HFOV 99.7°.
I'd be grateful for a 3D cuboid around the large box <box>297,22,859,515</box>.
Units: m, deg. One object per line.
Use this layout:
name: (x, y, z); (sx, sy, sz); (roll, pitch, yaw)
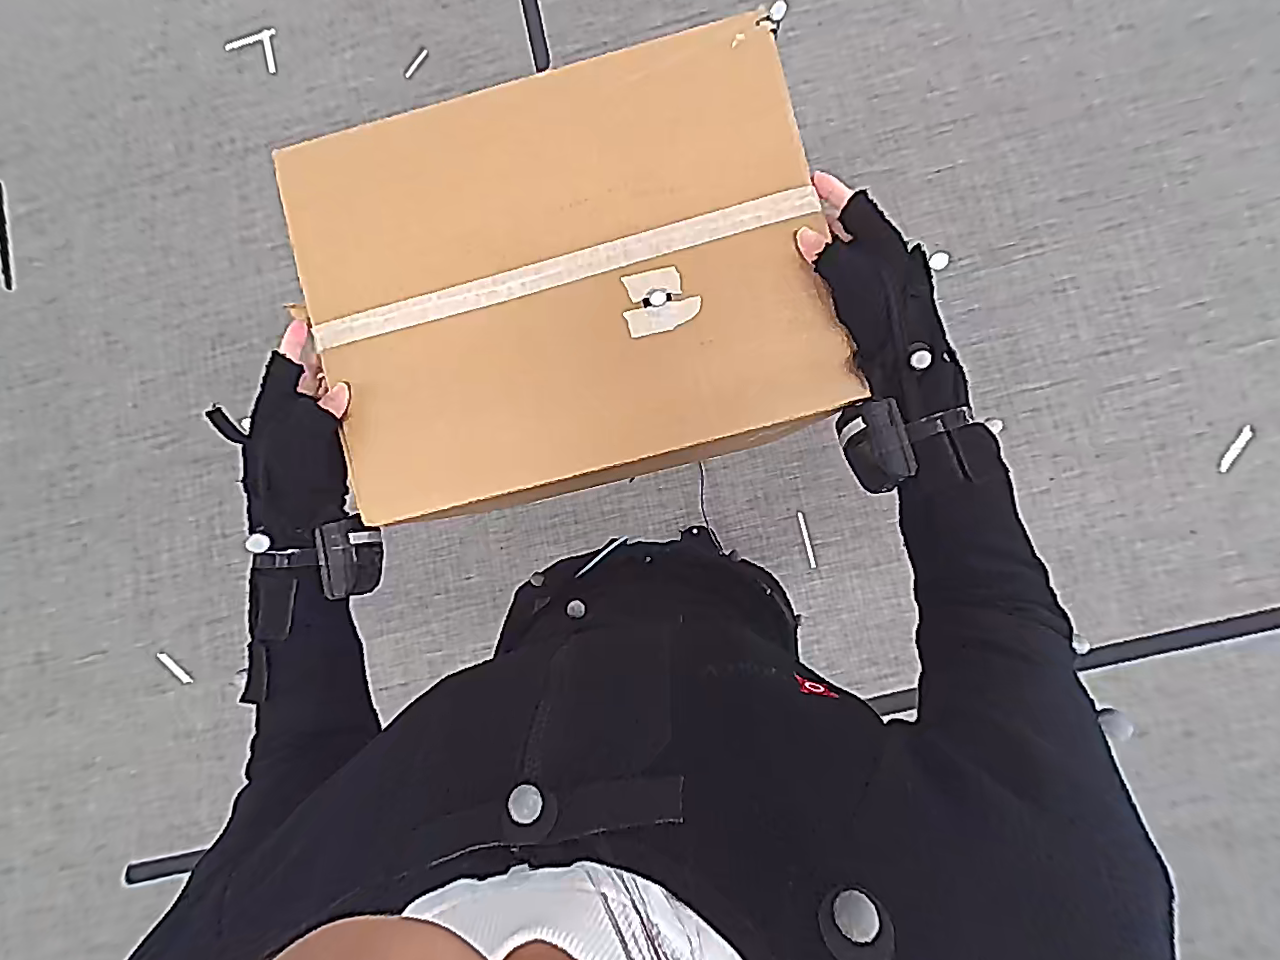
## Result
large box: (-0.051, -0.165, 0.582); (0.408, 0.320, 0.320); (-15, 89, 2)
